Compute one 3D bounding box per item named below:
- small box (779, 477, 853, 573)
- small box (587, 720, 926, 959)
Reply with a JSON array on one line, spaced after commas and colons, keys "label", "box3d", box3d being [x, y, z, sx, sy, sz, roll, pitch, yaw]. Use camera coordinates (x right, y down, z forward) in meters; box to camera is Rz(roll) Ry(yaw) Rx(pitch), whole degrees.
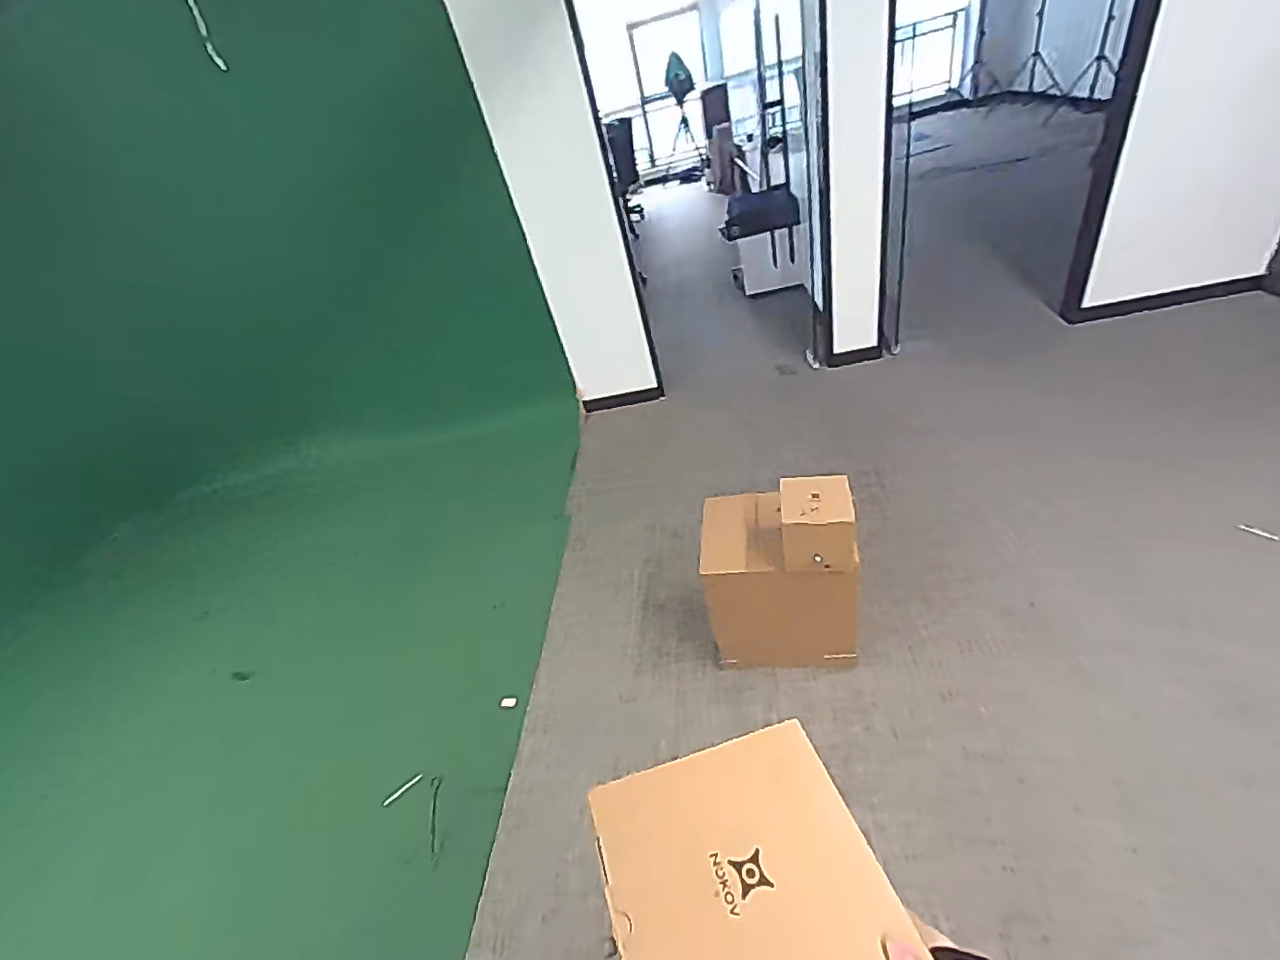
[{"label": "small box", "box3d": [0.436, 0.111, 1.355, 0.168, 0.176, 0.179, -4, 37, 16]}, {"label": "small box", "box3d": [0.068, 0.318, 0.405, 0.179, 0.176, 0.168, -13, 40, -11]}]
